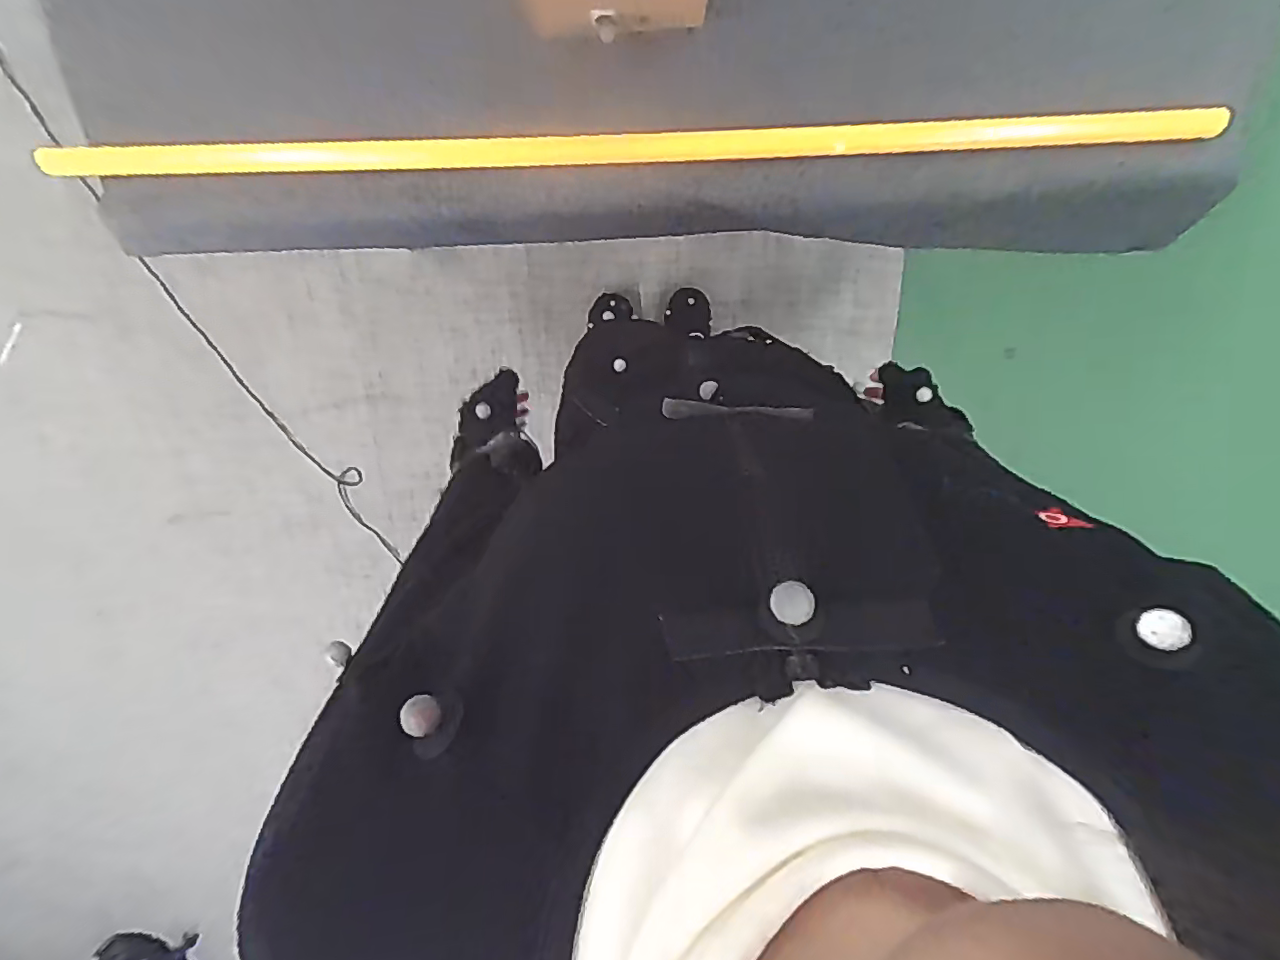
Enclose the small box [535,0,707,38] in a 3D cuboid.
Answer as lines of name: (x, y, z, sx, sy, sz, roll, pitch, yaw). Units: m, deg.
small box: (-0.025, -0.504, 0.437, 0.168, 0.176, 0.179, -3, 111, 4)
